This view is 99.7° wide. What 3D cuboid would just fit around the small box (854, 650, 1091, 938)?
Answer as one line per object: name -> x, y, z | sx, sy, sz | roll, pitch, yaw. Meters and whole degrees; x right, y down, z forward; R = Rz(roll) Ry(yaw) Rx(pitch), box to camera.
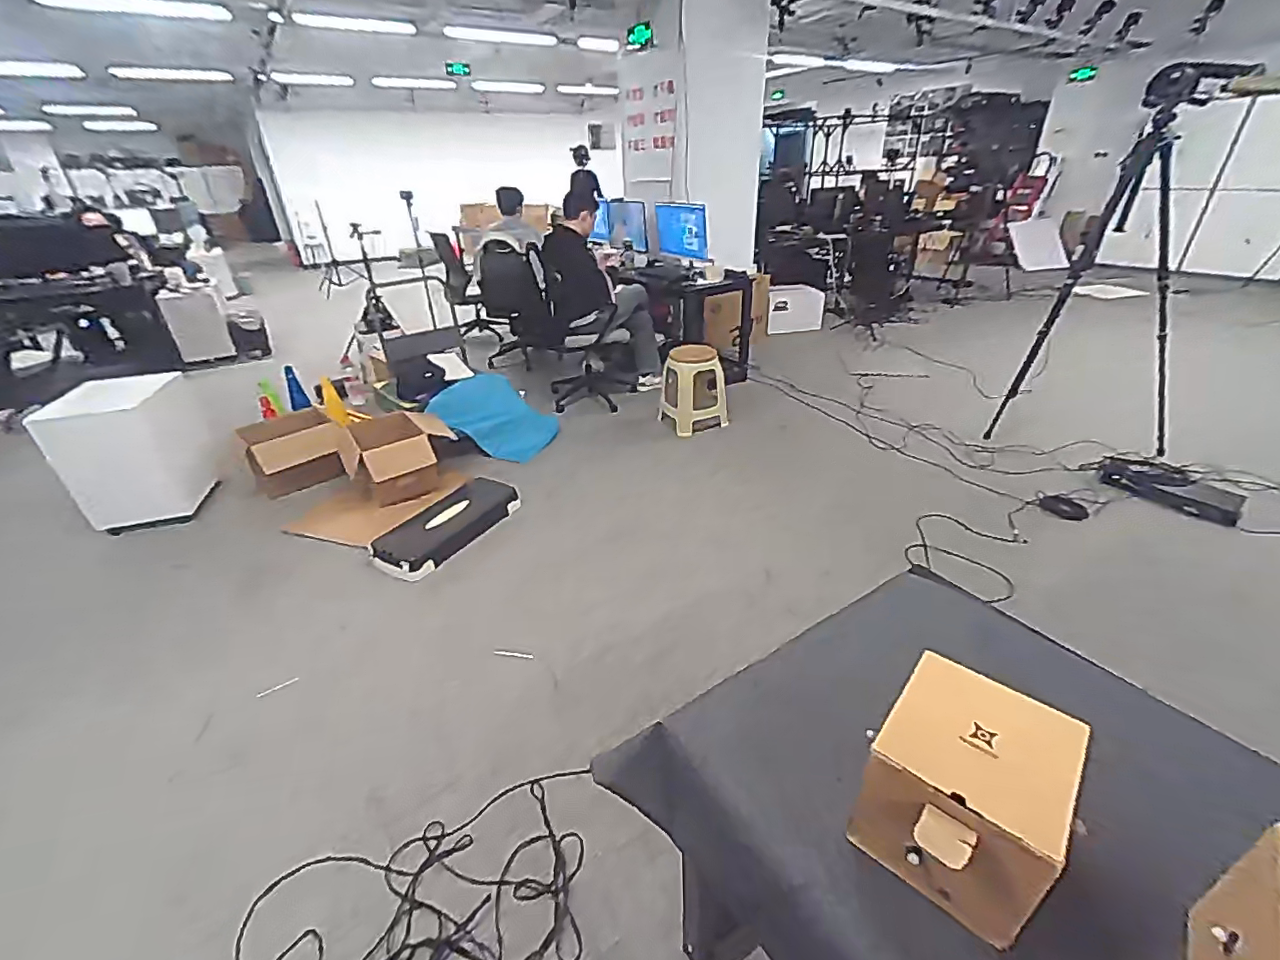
small box -> 0.355, 0.334, 0.596 | 0.168, 0.176, 0.179 | 23, 39, 36
